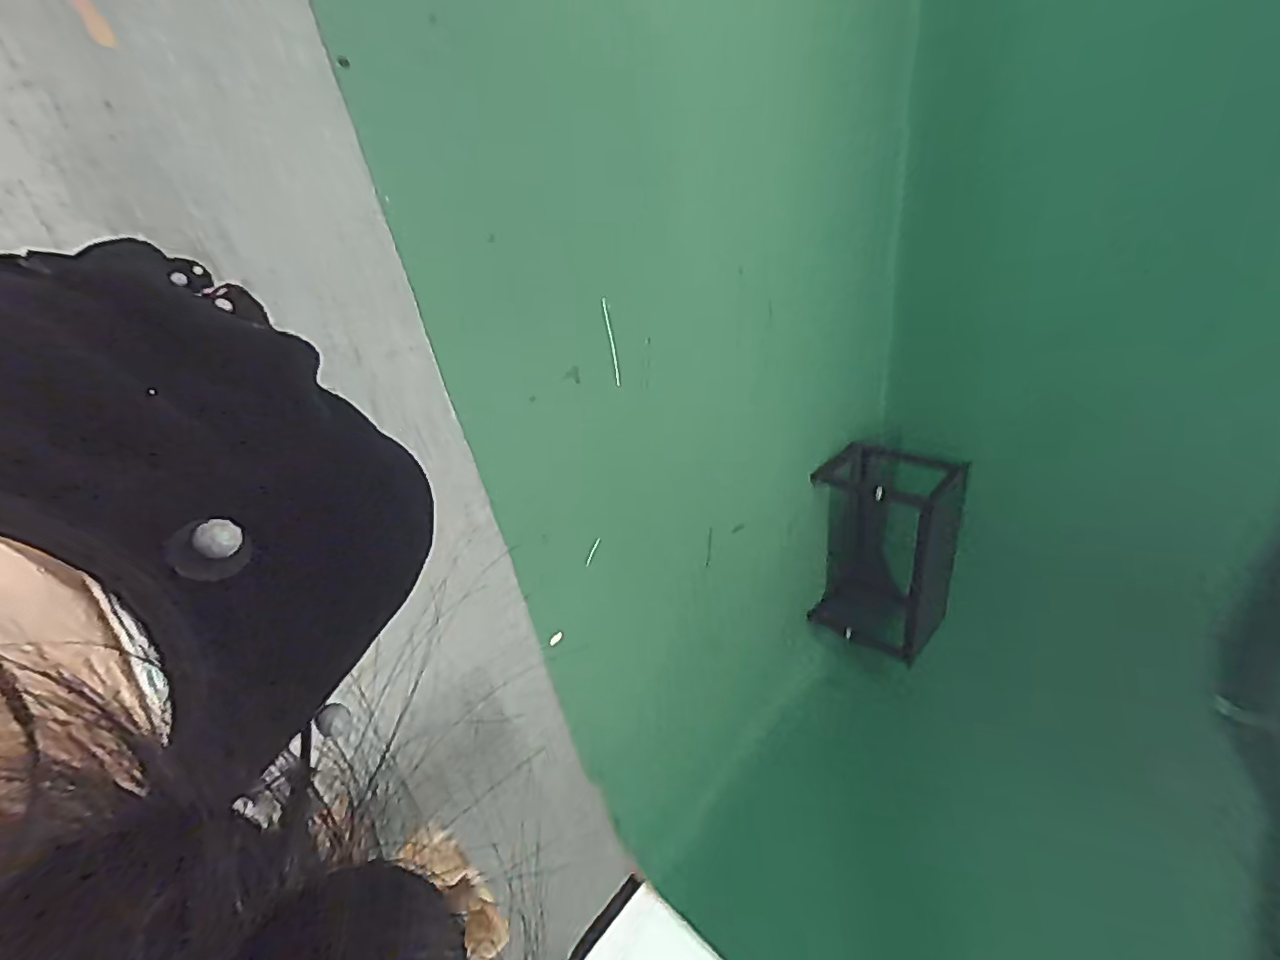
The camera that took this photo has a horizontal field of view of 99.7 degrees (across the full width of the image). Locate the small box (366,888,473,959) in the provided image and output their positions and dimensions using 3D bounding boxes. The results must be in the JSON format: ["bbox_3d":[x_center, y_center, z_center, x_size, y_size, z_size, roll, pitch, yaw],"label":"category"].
[{"bbox_3d":[-0.563,1.200,1.380,0.168,0.176,0.179,-36,127,-33],"label":"small box"}]
